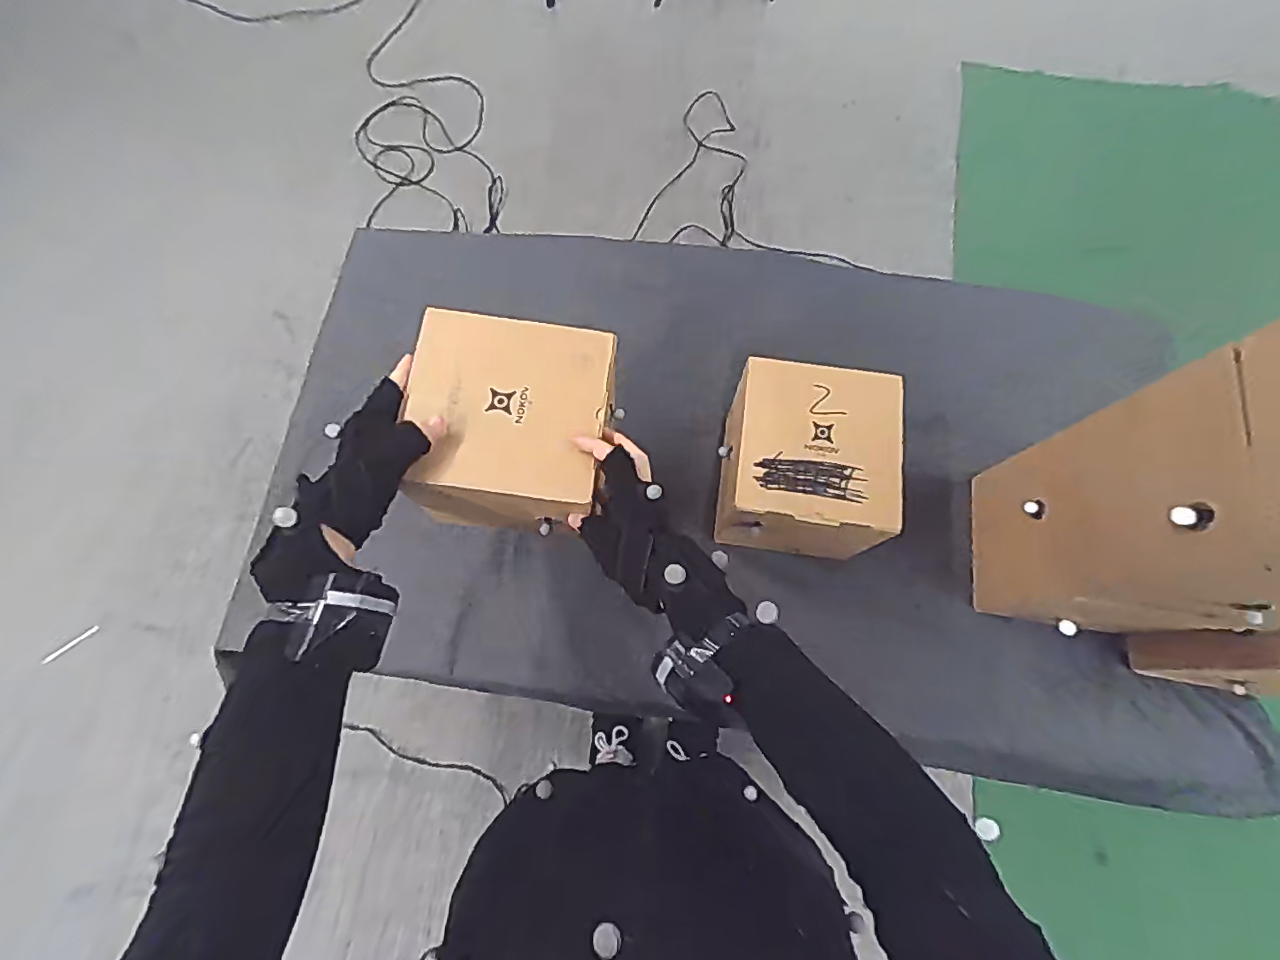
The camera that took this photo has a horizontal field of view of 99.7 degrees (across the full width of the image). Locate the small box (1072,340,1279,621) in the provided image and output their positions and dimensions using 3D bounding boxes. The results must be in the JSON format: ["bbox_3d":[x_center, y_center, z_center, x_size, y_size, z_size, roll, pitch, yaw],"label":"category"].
[{"bbox_3d":[0.504,0.014,0.449,0.168,0.176,0.179,11,73,4],"label":"small box"}]

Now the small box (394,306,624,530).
[{"bbox_3d":[-0.115,-0.049,0.552,0.179,0.176,0.168,7,73,-1],"label":"small box"}]
